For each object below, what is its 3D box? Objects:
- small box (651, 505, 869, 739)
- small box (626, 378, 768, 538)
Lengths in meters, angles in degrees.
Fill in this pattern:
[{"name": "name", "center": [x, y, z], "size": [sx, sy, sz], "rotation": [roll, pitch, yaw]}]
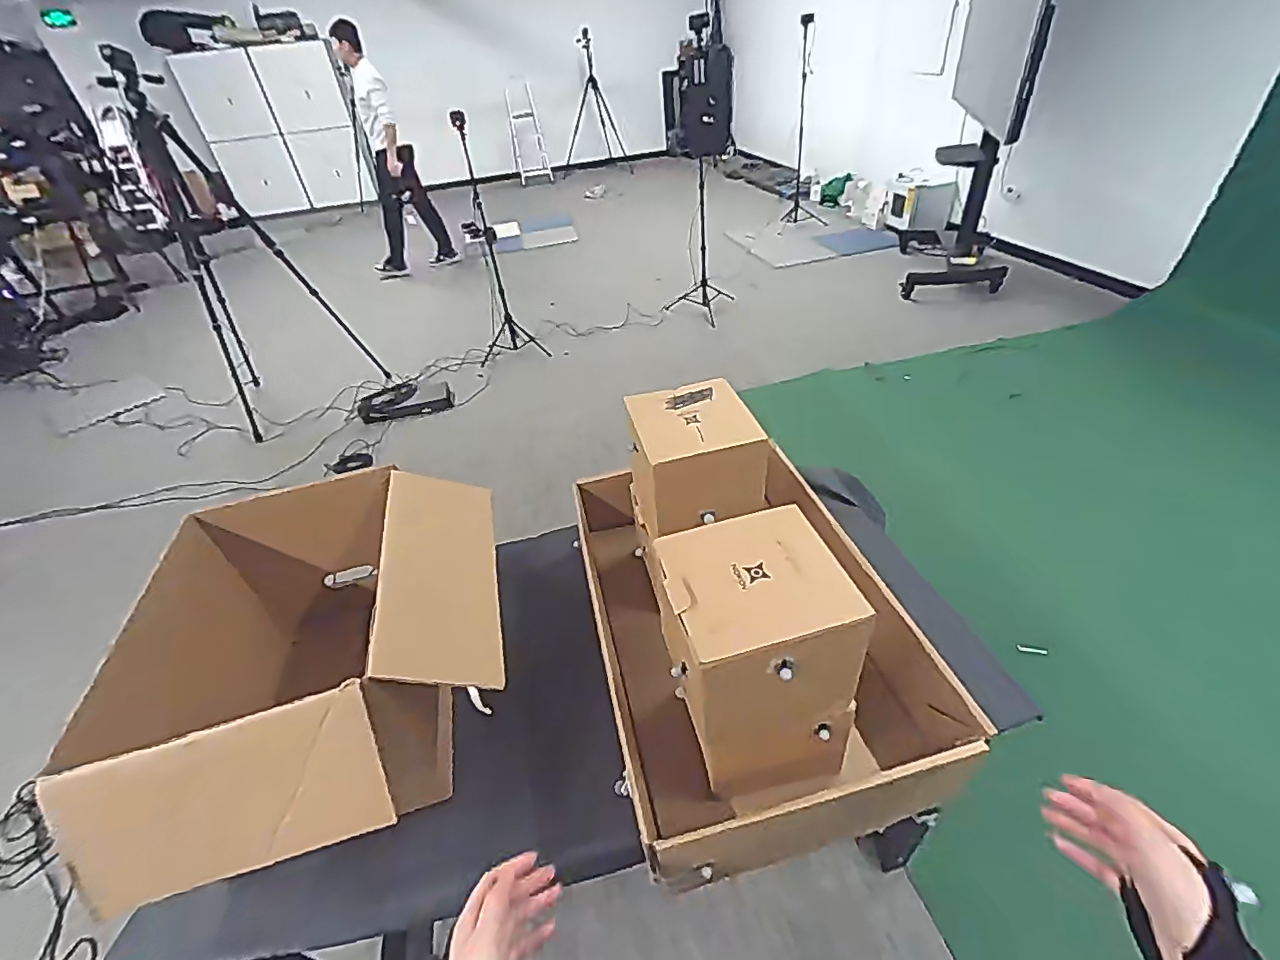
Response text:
[{"name": "small box", "center": [0.121, 0.159, 0.603], "size": [0.179, 0.176, 0.168], "rotation": [-13, 41, -8]}, {"name": "small box", "center": [0.080, -0.030, 0.826], "size": [0.168, 0.176, 0.179], "rotation": [-13, 42, -7]}]
